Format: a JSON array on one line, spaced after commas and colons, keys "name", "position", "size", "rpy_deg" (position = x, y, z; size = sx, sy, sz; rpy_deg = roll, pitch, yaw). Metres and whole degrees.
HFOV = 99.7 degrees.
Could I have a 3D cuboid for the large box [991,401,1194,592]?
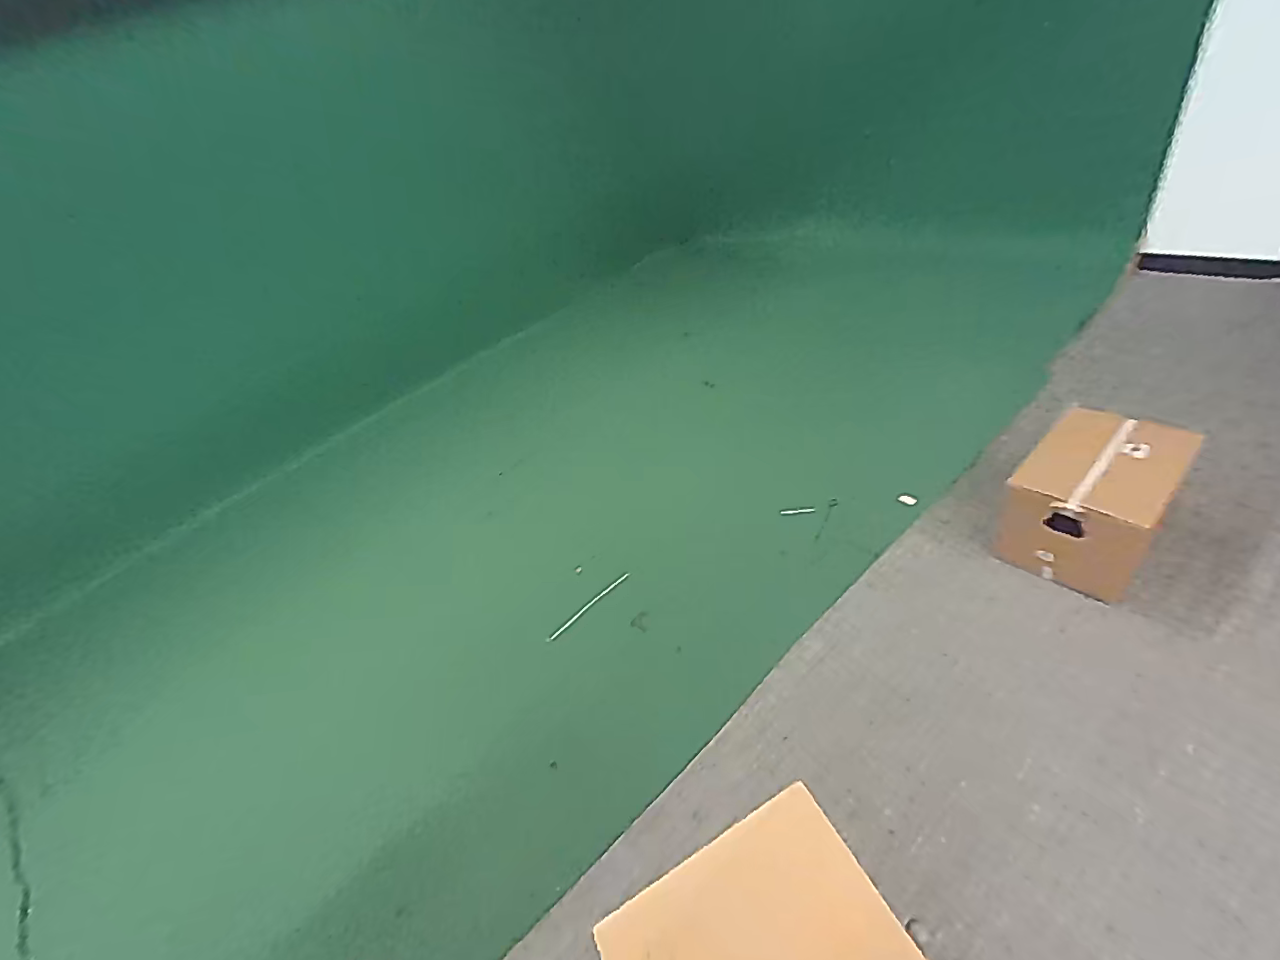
[{"name": "large box", "position": [1.274, 0.037, 1.551], "size": [0.408, 0.320, 0.320], "rpy_deg": [-39, 43, -21]}]
